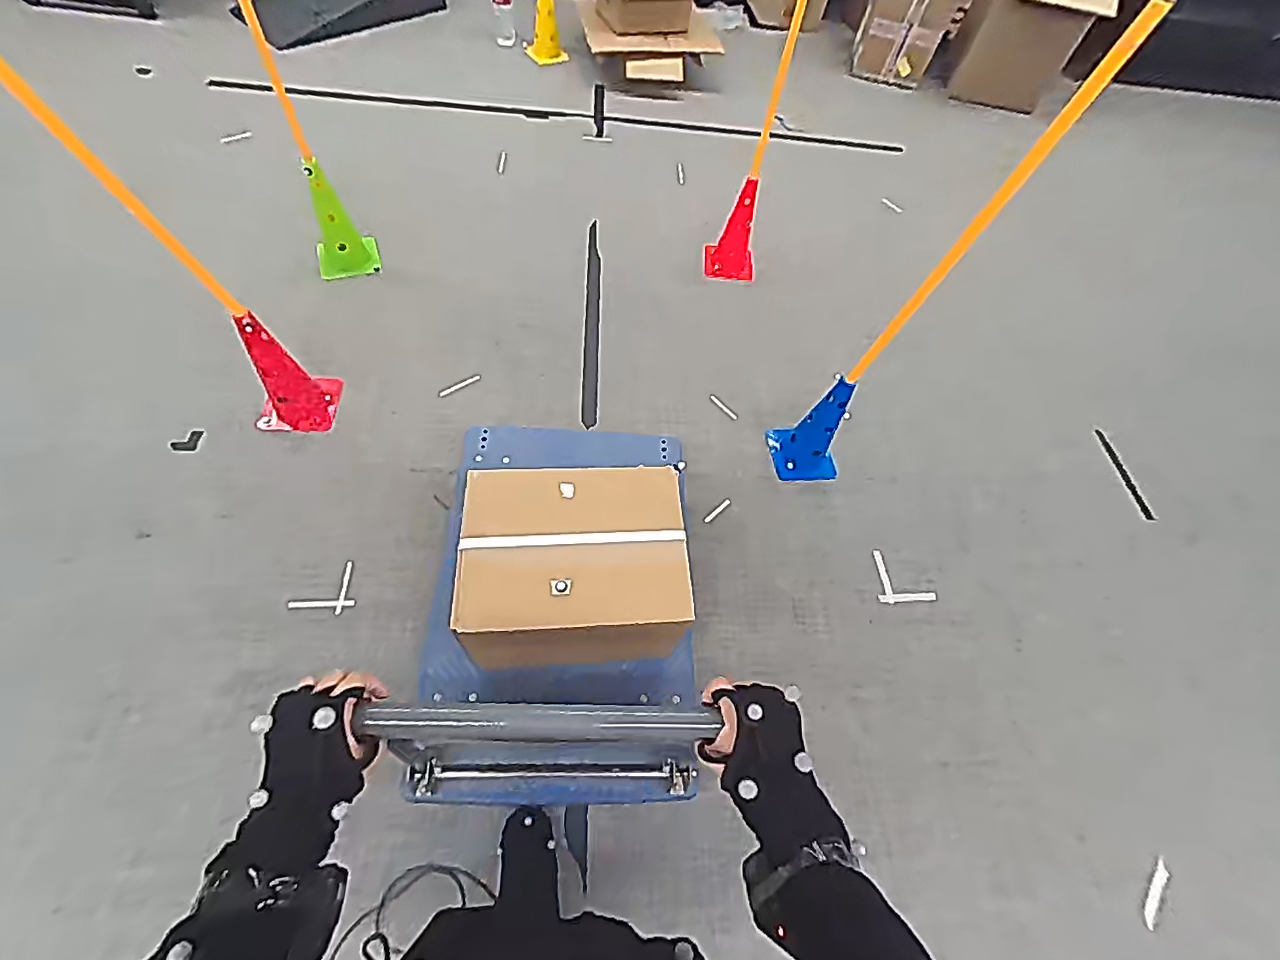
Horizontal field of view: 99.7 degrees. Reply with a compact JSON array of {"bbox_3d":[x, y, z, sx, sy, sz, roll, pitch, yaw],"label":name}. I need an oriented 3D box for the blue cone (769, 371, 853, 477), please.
[{"bbox_3d":[0.542,-0.176,1.611,0.193,0.380,0.192,-2,59,-9],"label":"blue cone"}]

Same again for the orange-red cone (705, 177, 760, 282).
[{"bbox_3d":[0.384,-0.964,2.041,0.199,0.360,0.198,8,59,-4],"label":"orange-red cone"}]
